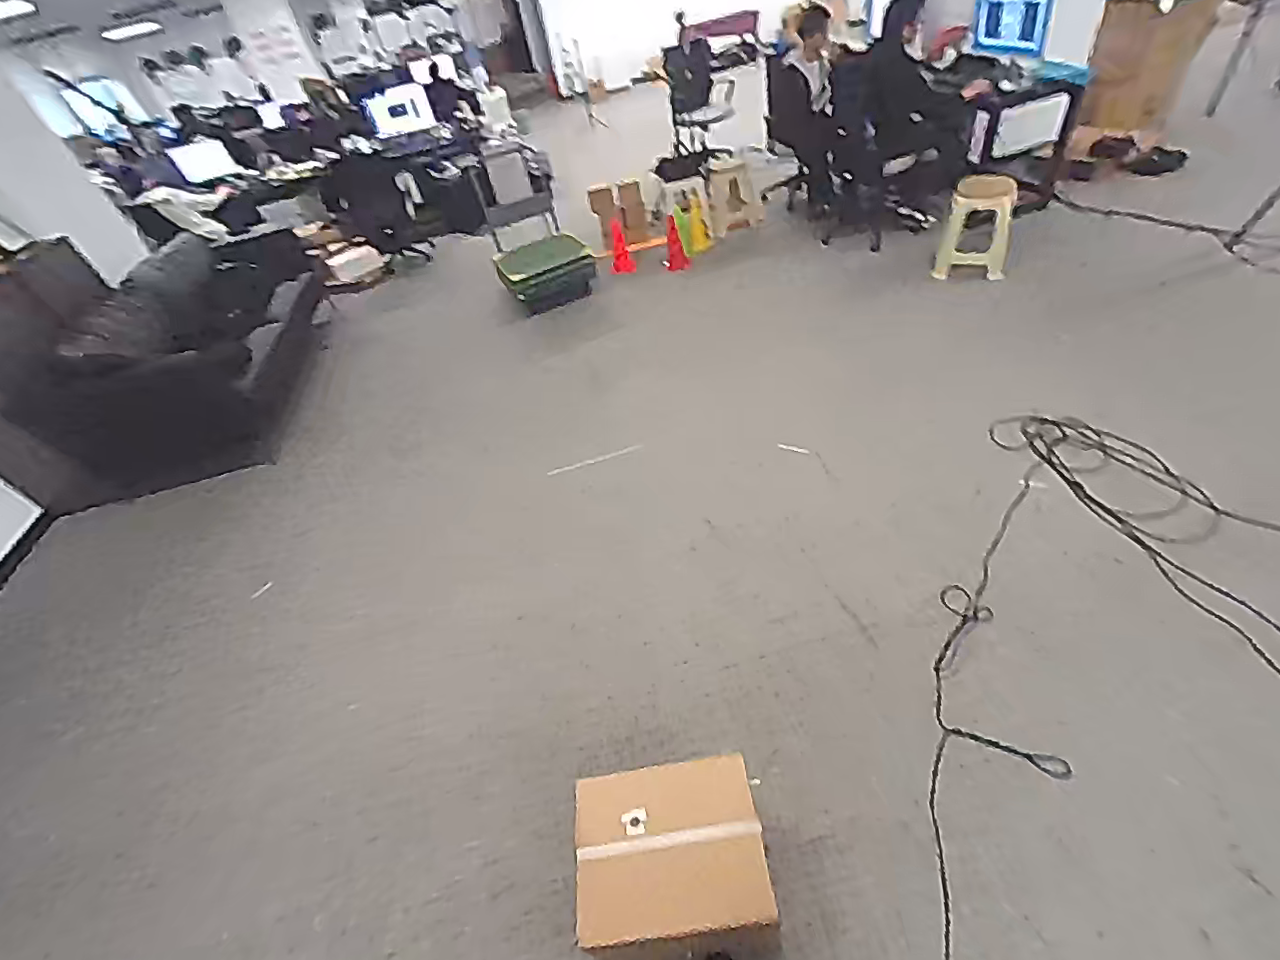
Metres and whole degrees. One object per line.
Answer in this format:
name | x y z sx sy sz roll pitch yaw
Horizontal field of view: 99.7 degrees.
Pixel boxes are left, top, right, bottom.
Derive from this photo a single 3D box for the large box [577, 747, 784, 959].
large box | 0.093 0.881 1.267 0.408 0.320 0.320 -13 40 3
